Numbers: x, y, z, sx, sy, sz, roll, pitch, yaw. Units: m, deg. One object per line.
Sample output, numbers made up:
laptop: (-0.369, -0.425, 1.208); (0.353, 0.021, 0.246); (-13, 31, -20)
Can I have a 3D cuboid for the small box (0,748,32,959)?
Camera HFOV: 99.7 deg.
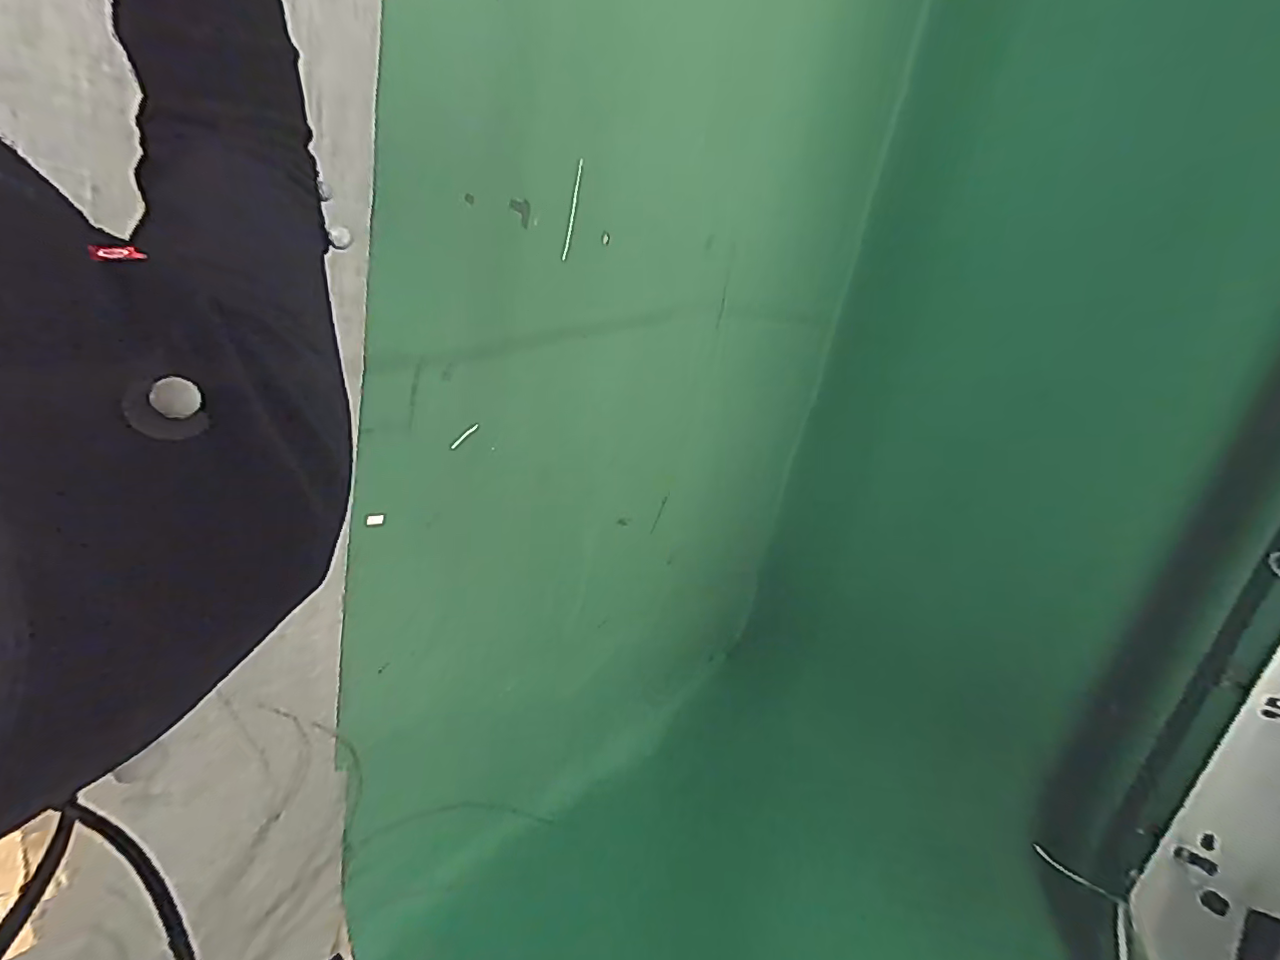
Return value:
small box: (-0.772, 0.417, 0.557); (0.179, 0.176, 0.168); (-6, 111, -51)
